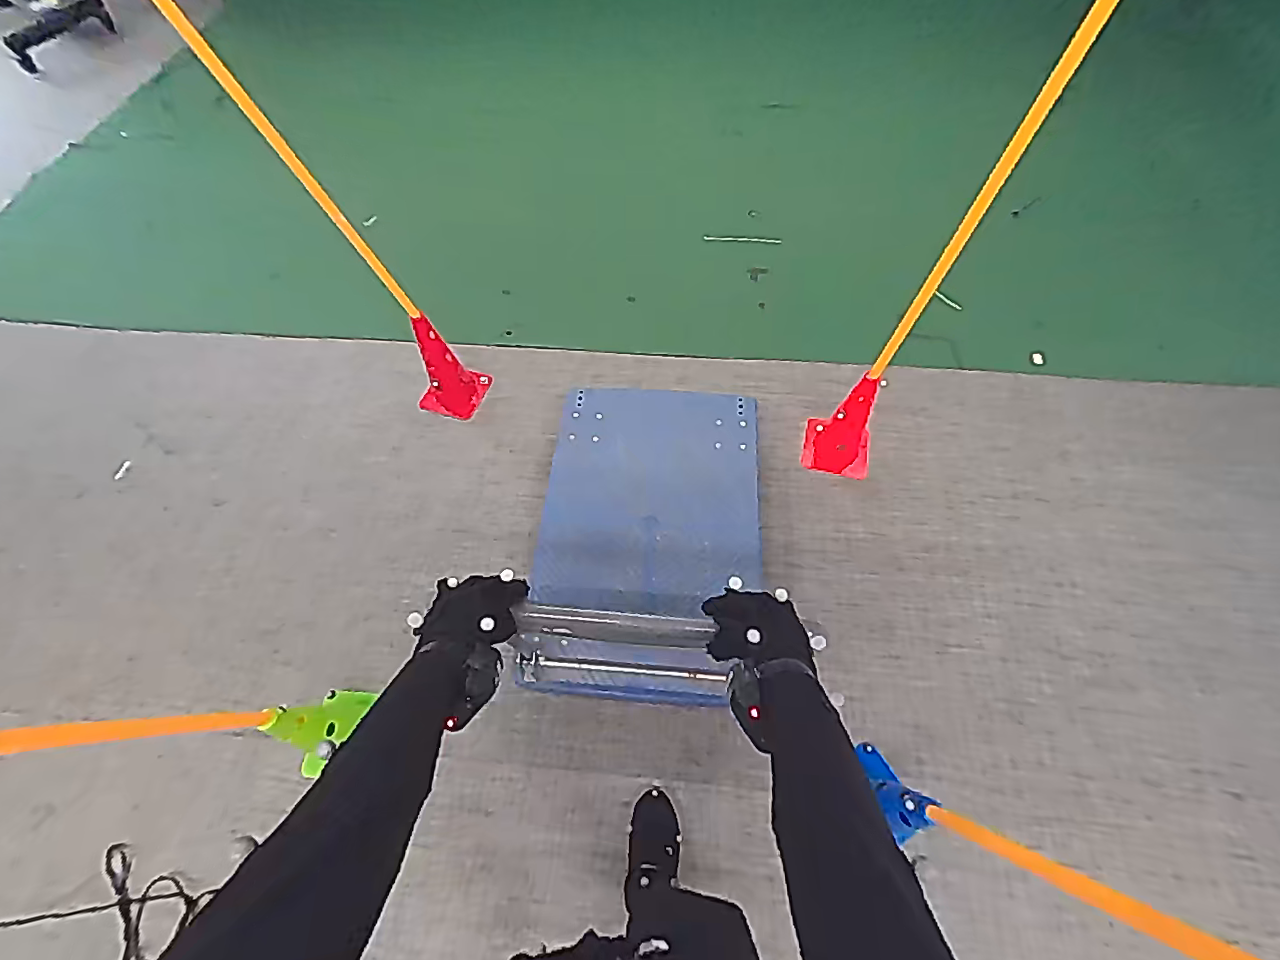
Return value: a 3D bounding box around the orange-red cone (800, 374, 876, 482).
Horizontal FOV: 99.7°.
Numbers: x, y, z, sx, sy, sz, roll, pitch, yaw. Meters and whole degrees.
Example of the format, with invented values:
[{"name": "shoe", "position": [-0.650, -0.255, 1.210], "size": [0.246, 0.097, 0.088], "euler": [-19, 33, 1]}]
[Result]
[{"name": "orange-red cone", "position": [0.613, -0.175, 1.576], "size": [0.198, 0.360, 0.199], "euler": [13, 62, 10]}]
